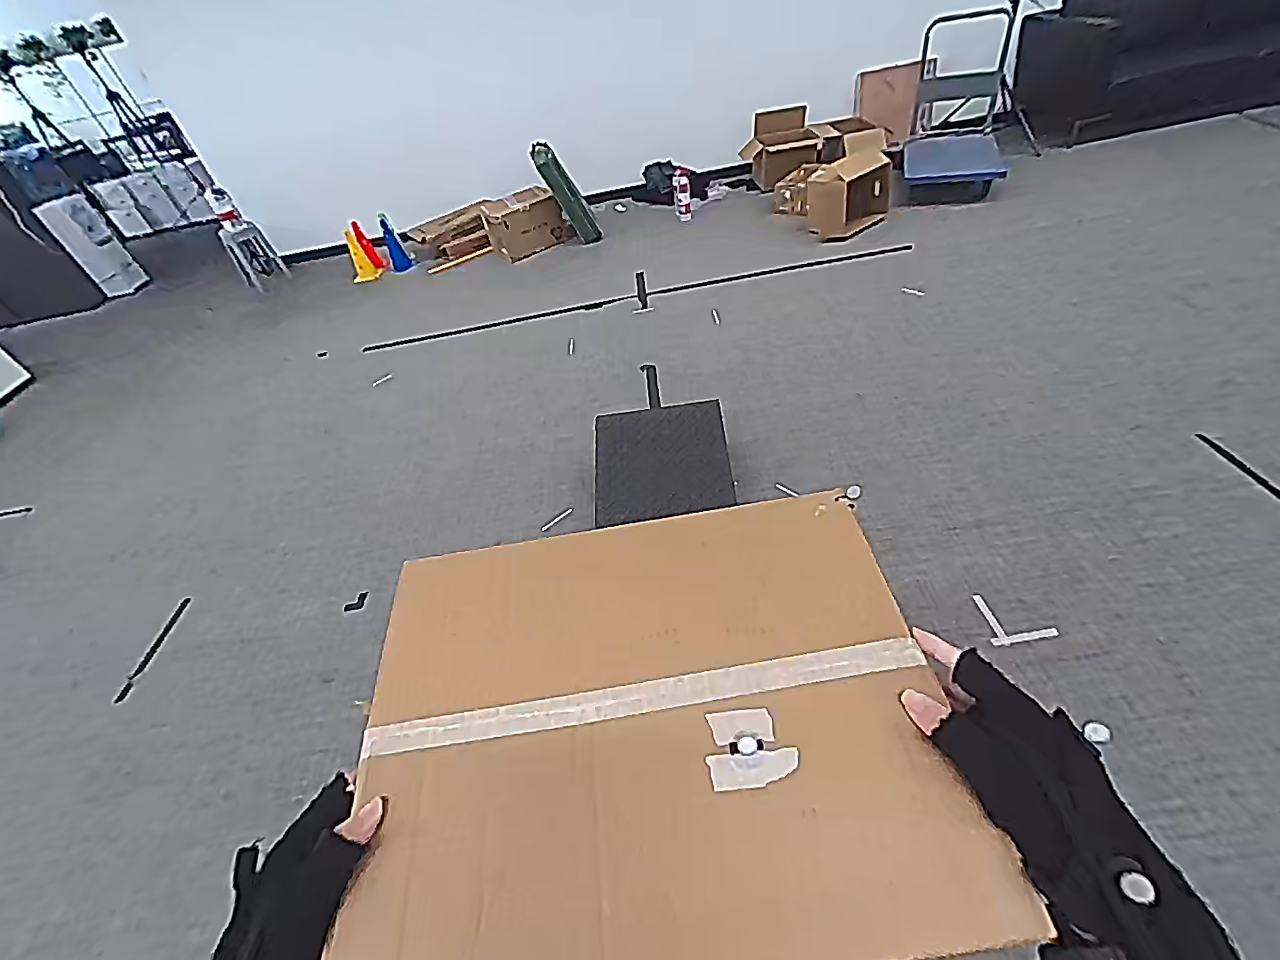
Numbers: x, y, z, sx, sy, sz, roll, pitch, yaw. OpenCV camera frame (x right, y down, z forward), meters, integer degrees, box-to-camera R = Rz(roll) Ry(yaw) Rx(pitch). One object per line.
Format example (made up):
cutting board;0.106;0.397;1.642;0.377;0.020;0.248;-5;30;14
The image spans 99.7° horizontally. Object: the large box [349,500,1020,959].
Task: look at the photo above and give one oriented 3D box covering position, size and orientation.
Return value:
large box;0.021;0.262;0.515;0.408;0.320;0.320;-9;49;1
